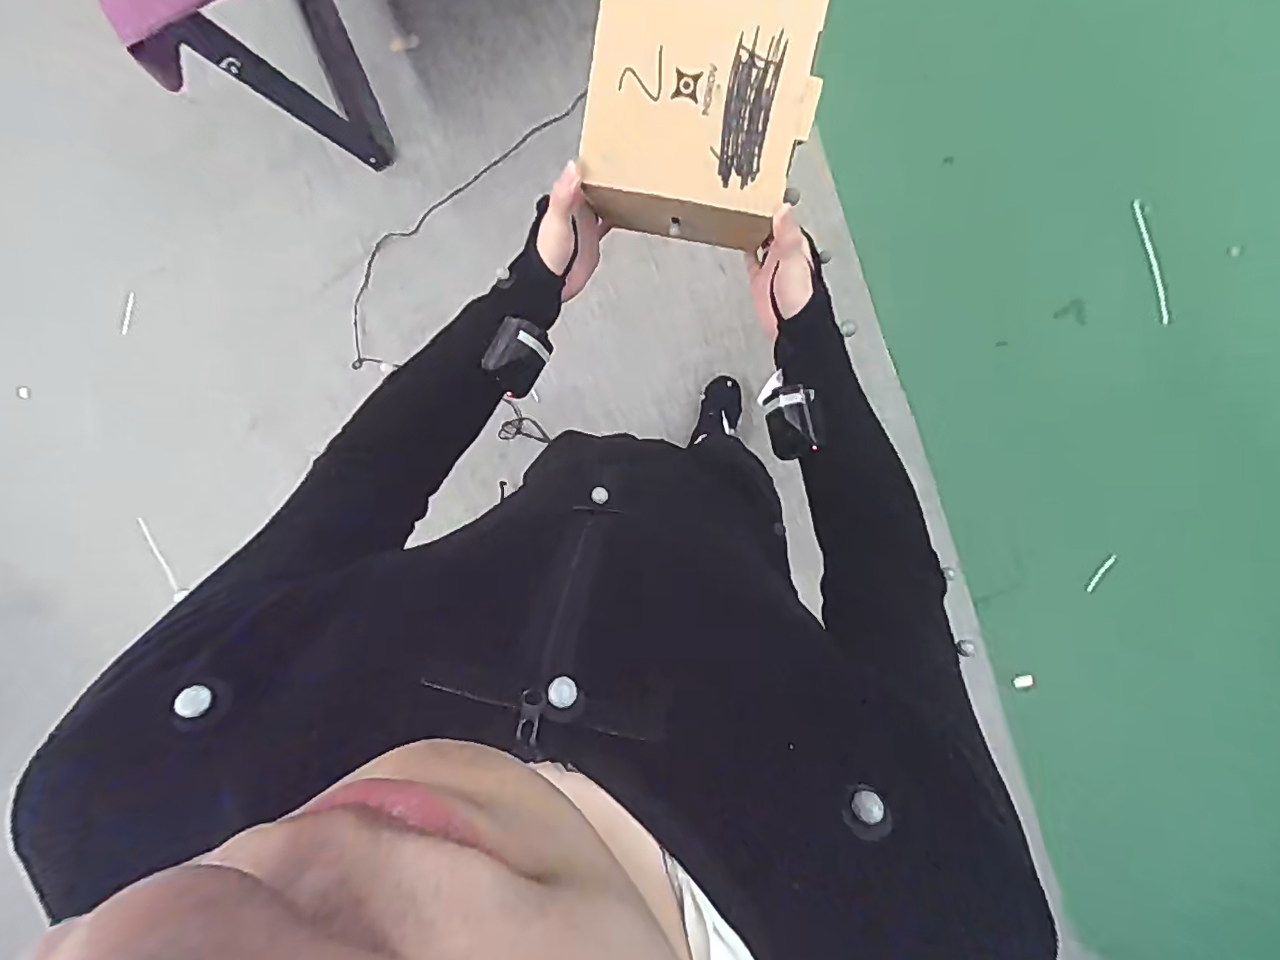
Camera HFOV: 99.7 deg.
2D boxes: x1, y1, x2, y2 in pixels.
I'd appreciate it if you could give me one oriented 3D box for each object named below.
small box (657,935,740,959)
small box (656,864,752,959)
[{"bbox_3d":[0.132,1.085,1.113,0.168,0.176,0.179,-20,97,11],"label":"small box"},{"bbox_3d":[0.153,1.052,1.273,0.179,0.176,0.168,-22,97,11],"label":"small box"}]
